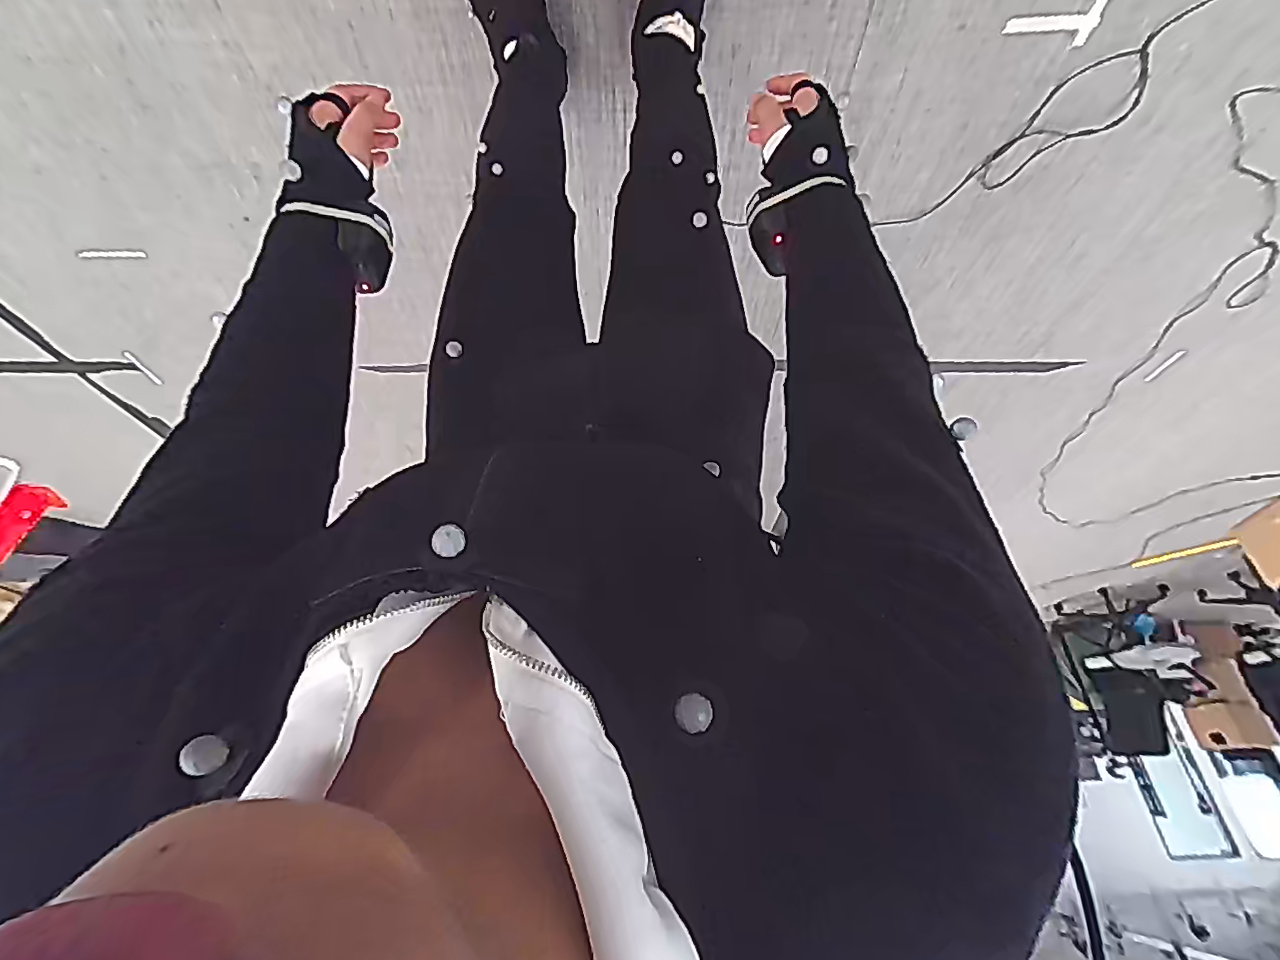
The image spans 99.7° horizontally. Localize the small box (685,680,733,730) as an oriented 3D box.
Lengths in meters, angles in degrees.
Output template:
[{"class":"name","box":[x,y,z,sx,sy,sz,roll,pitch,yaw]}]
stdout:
[{"class":"small box","box":[0.273,0.907,2.176,0.168,0.176,0.179,-2,149,0]}]
